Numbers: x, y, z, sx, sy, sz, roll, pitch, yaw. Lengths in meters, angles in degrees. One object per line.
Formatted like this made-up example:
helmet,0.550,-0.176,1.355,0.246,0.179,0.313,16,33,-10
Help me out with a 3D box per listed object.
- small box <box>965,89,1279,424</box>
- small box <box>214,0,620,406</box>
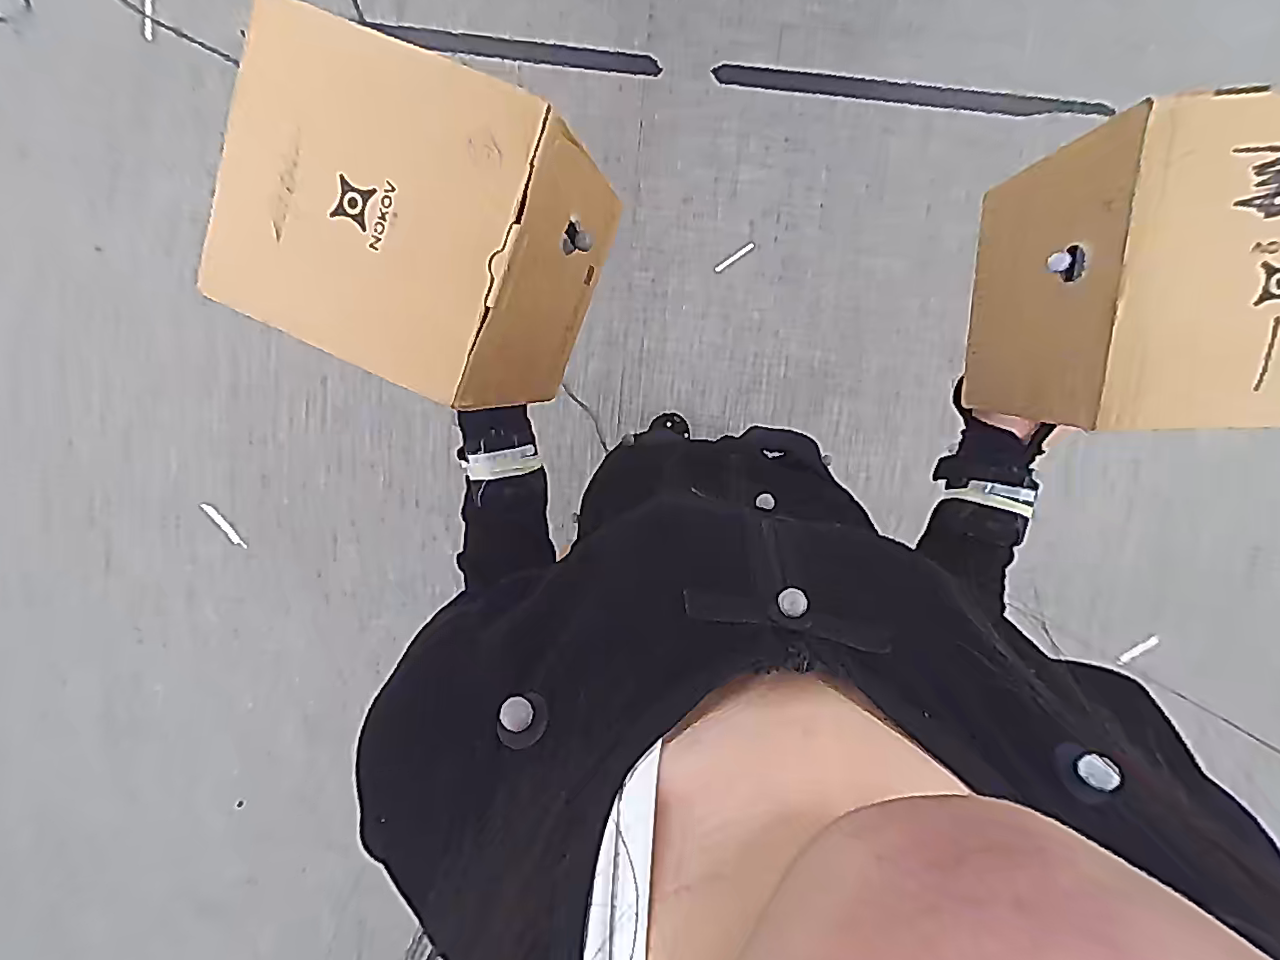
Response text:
small box,0.353,-0.134,0.373,0.168,0.176,0.179,0,103,6
small box,-0.131,-0.163,0.372,0.179,0.176,0.168,24,103,6
